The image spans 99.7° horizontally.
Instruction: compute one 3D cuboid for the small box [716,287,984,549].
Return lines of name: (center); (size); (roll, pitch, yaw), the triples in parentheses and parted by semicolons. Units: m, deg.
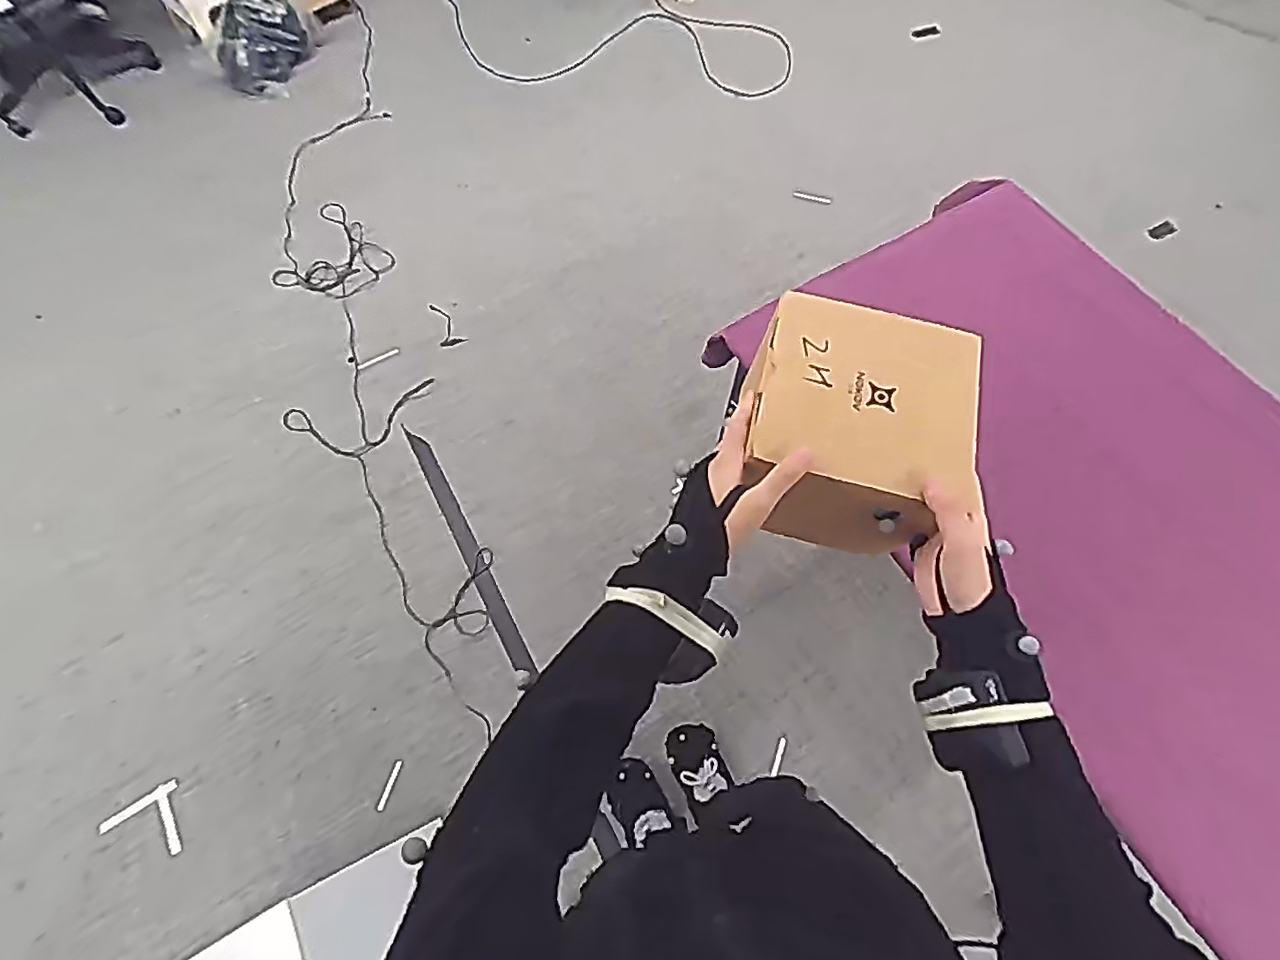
small box: (0.183, -0.044, 0.508); (0.179, 0.176, 0.168); (14, 70, 4)
